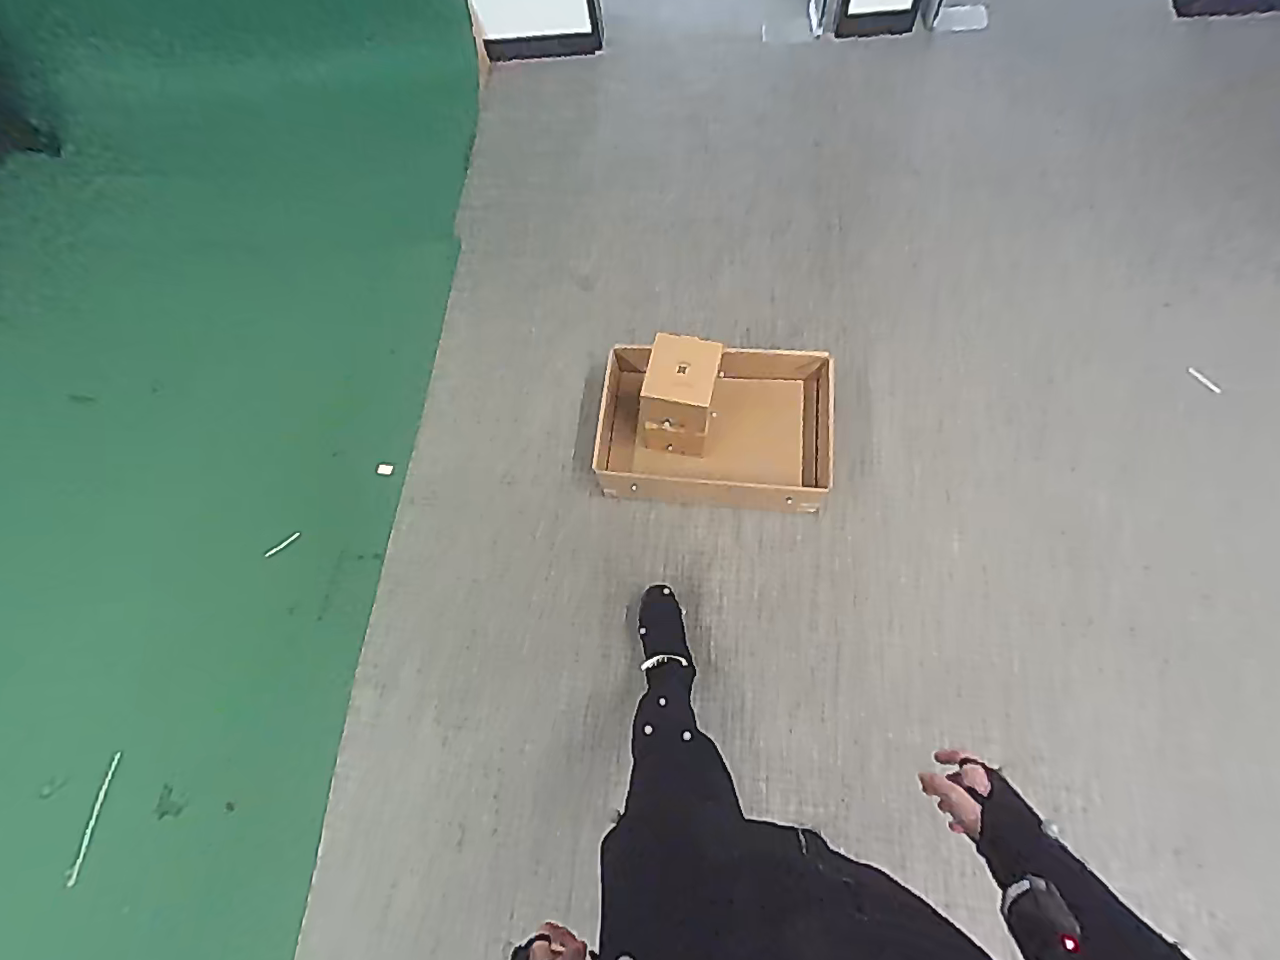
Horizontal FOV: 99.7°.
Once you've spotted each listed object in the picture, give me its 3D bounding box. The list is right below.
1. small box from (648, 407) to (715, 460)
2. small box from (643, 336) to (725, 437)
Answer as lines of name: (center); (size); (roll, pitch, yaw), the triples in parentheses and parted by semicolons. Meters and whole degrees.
small box: (0.119, -0.173, 1.510); (0.168, 0.176, 0.179); (9, 73, 6)
small box: (0.110, -0.231, 1.358); (0.168, 0.176, 0.179); (12, 73, 8)
